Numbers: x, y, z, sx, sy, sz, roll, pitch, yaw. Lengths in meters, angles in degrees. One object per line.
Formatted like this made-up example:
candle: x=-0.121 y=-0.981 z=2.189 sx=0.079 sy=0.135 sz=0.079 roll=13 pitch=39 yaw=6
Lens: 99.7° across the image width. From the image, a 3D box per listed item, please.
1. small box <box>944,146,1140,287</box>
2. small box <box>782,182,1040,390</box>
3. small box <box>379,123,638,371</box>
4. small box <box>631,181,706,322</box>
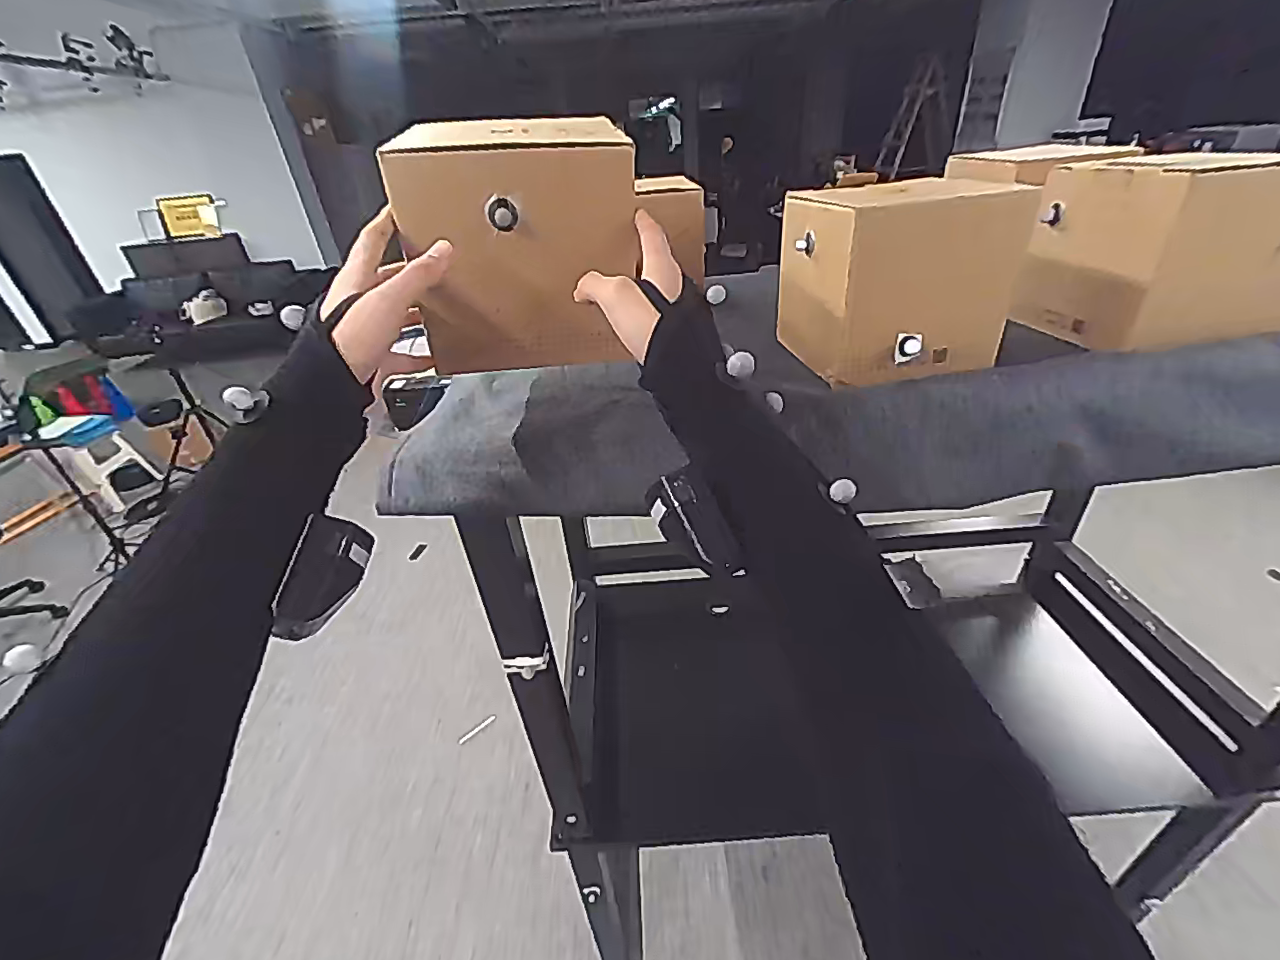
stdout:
small box: x=0.572 y=-0.392 z=0.813 sx=0.168 sy=0.176 sz=0.179 roll=-6 pitch=33 yaw=0
small box: x=0.255 y=-0.206 z=0.563 sx=0.168 sy=0.176 sz=0.179 roll=-8 pitch=31 yaw=-3
small box: x=-0.099 y=-0.206 z=0.479 sx=0.179 sy=0.176 sz=0.168 roll=-6 pitch=39 yaw=-7
small box: x=-0.003 y=-0.338 z=0.805 sx=0.179 sy=0.176 sz=0.168 roll=-5 pitch=33 yaw=-2
